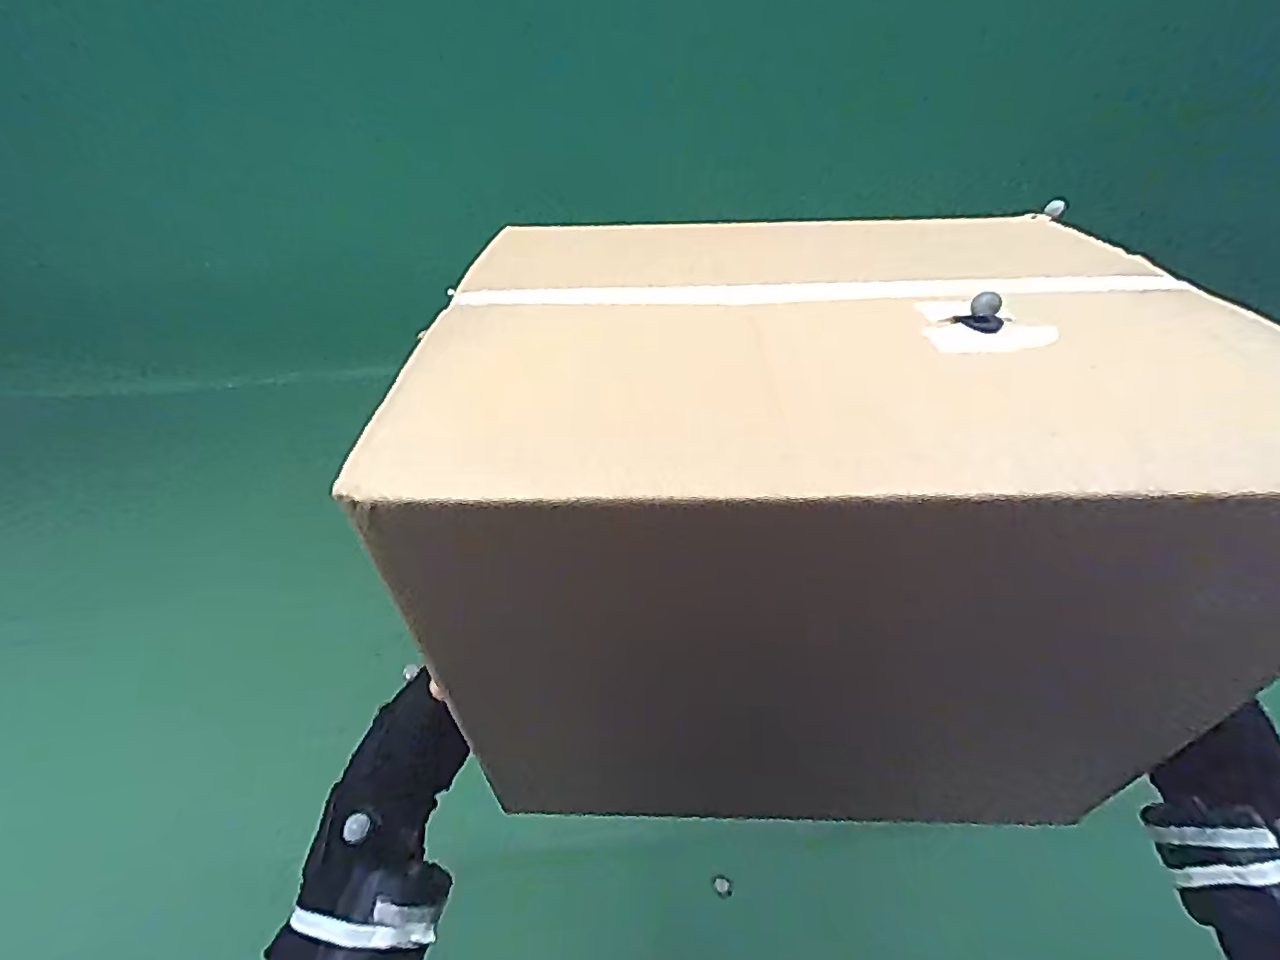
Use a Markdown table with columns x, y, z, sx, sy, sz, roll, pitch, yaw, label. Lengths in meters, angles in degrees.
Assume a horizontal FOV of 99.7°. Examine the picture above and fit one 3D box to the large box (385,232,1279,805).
| x | y | z | sx | sy | sz | roll | pitch | yaw | label |
| --- | --- | --- | --- | --- | --- | --- | --- | --- | --- |
| 0.104 | 0.020 | 0.405 | 0.408 | 0.320 | 0.320 | 0 | 41 | 2 | large box |
